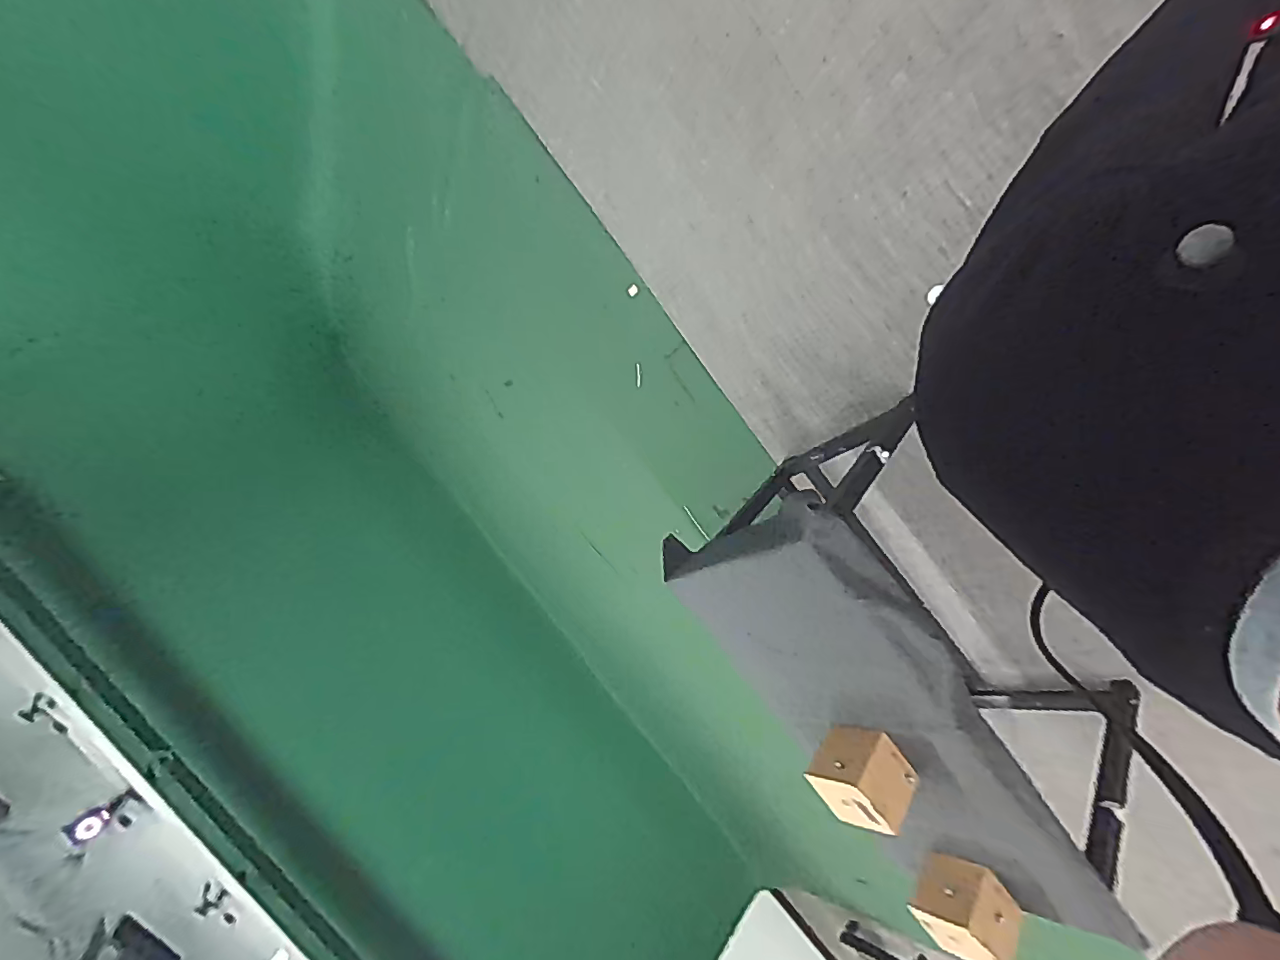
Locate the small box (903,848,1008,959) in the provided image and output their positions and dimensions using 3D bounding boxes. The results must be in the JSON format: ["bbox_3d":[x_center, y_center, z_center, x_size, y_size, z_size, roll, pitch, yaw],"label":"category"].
[{"bbox_3d":[0.854,1.135,1.451,0.168,0.176,0.179,53,145,-3],"label":"small box"}]

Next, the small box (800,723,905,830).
[{"bbox_3d":[0.563,0.763,1.413,0.168,0.176,0.179,52,146,-5],"label":"small box"}]
